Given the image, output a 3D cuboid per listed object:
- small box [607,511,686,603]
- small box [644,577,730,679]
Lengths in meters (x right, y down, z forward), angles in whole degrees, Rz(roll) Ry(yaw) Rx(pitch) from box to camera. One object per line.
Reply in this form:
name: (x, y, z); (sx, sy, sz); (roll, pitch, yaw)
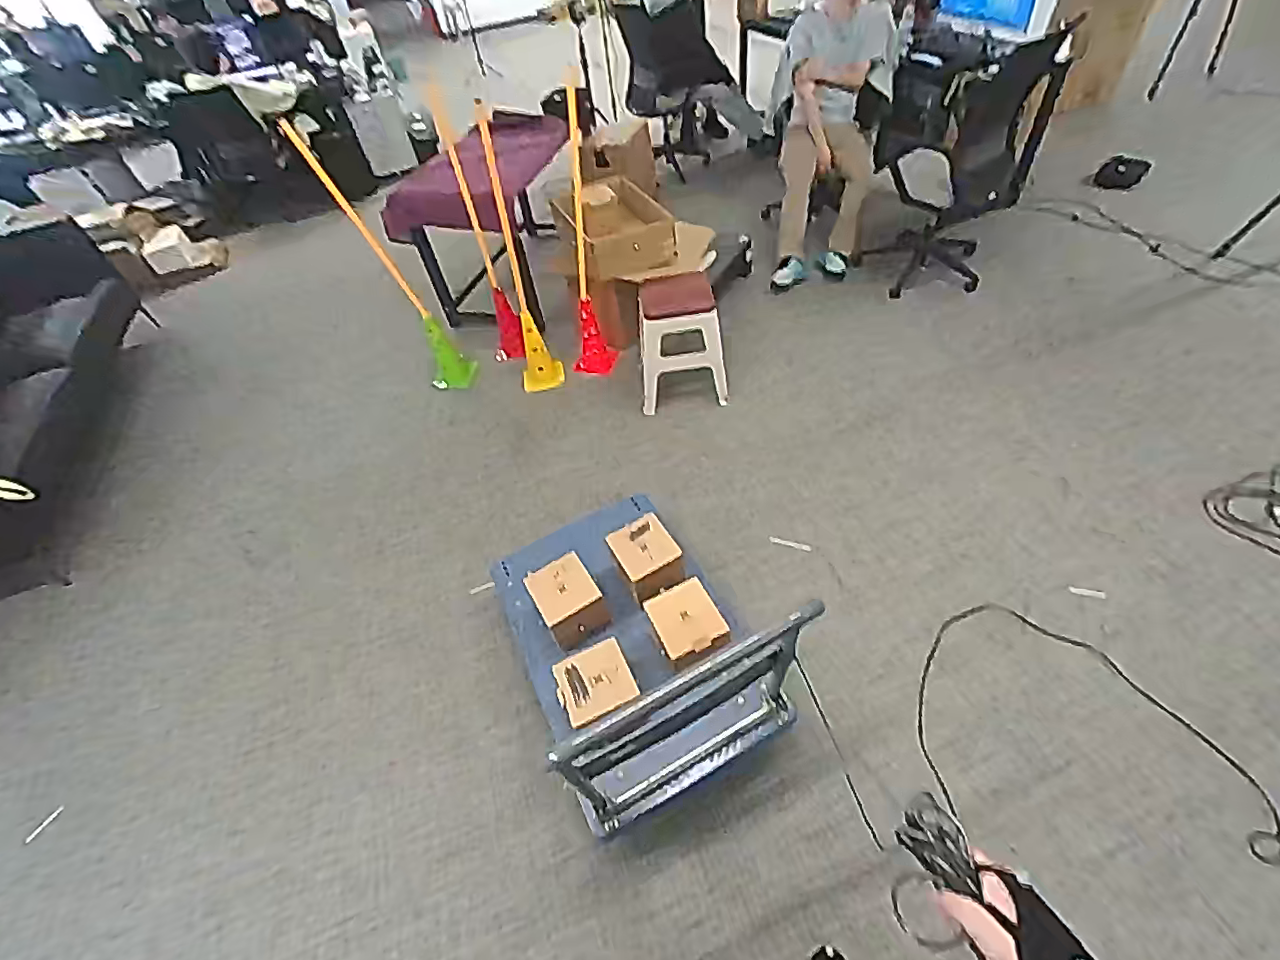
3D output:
small box: (0.021, 0.231, 1.597); (0.168, 0.176, 0.179); (-28, 53, -13)
small box: (0.126, 0.396, 1.442); (0.168, 0.176, 0.179); (-24, 52, -11)
